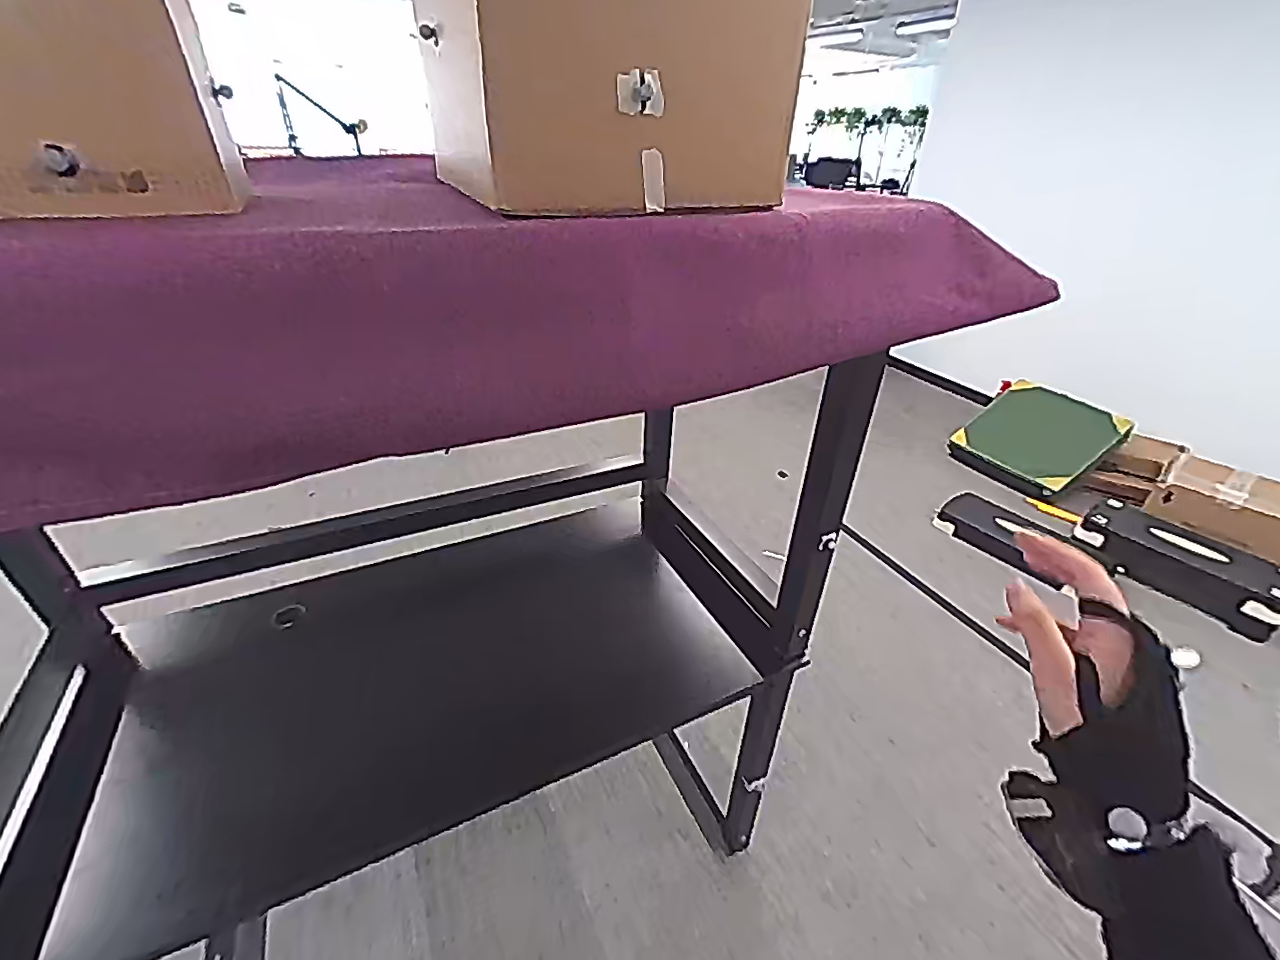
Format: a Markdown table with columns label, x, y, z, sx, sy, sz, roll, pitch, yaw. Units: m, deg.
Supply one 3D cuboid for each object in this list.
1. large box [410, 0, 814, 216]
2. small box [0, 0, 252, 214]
| label | x | y | z | sx | sy | sz | roll | pitch | yaw |
| --- | --- | --- | --- | --- | --- | --- | --- | --- | --- |
| large box | -0.061 | -0.482 | 0.590 | 0.320 | 0.320 | 0.408 | -12 | 34 | -22 |
| small box | -0.444 | -0.320 | 0.442 | 0.168 | 0.176 | 0.179 | -15 | 37 | -23 |
